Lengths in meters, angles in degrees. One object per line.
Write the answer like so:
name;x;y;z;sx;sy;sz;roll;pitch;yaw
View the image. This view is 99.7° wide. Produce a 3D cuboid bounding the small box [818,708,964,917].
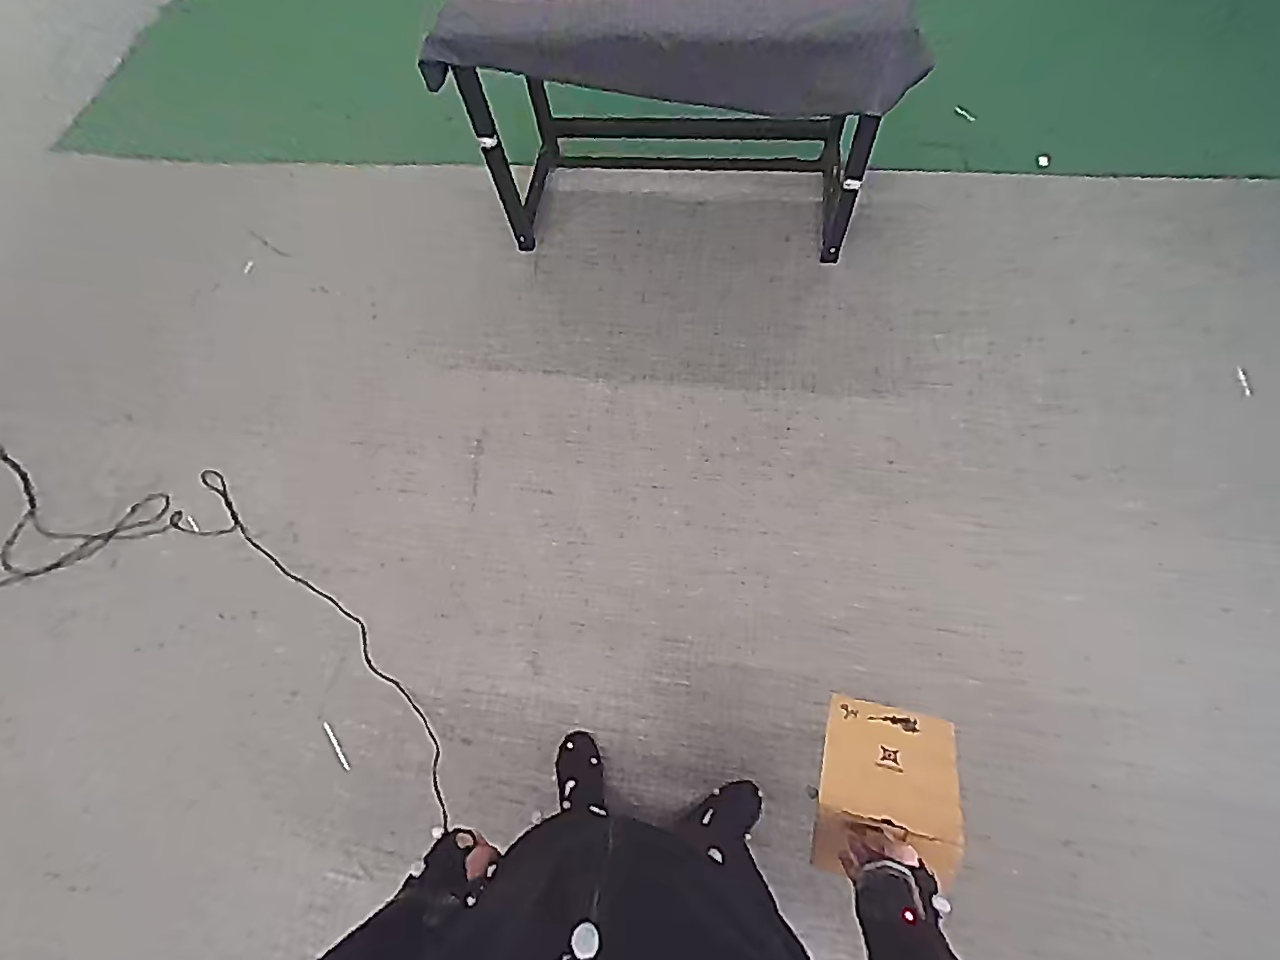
small box;0.345;0.462;0.761;0.168;0.176;0.179;3;30;22
